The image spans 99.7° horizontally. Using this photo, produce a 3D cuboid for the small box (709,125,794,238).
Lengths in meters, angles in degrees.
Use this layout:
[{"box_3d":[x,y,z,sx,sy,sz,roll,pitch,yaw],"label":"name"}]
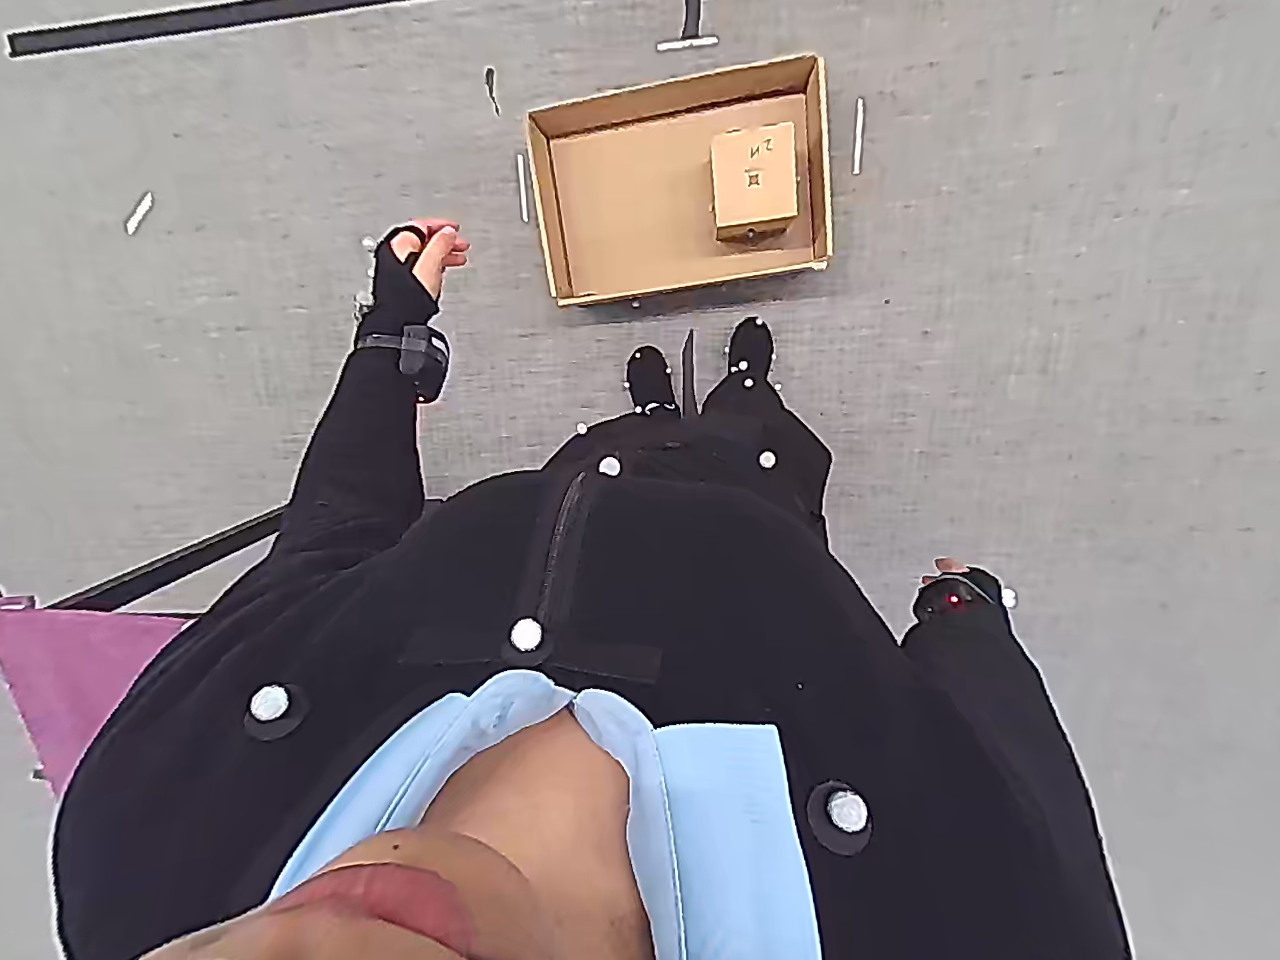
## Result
[{"box_3d":[0.238,-0.633,1.172,0.168,0.176,0.179,-4,104,8],"label":"small box"}]
